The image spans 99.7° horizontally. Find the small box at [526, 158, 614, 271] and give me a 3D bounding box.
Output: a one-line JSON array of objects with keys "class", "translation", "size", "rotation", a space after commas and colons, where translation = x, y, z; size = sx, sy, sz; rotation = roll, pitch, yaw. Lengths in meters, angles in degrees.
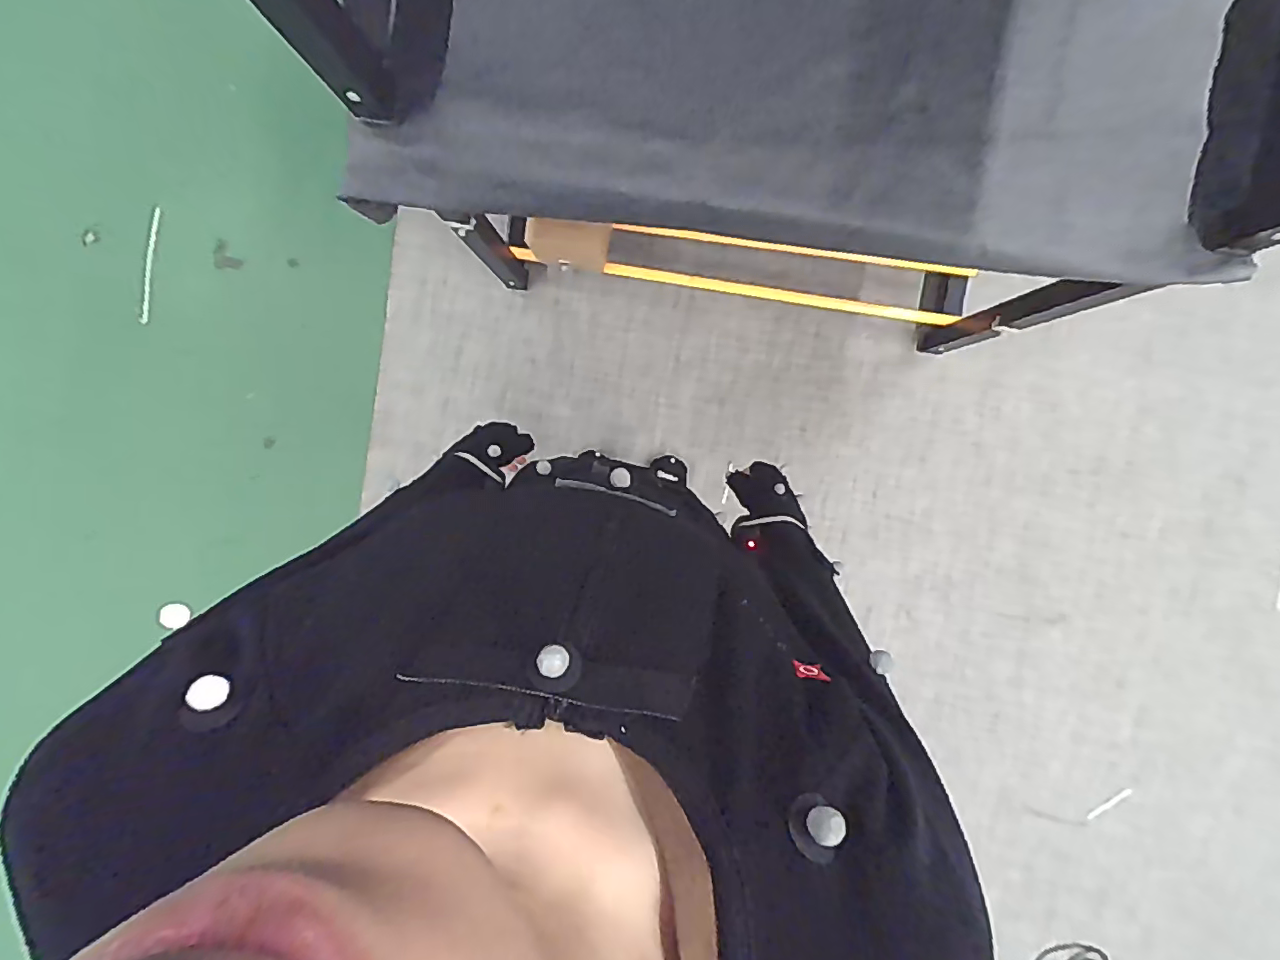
[{"class": "small box", "translation": [-0.155, -0.607, 1.256], "size": [0.168, 0.176, 0.179], "rotation": [9, 96, 1]}]
